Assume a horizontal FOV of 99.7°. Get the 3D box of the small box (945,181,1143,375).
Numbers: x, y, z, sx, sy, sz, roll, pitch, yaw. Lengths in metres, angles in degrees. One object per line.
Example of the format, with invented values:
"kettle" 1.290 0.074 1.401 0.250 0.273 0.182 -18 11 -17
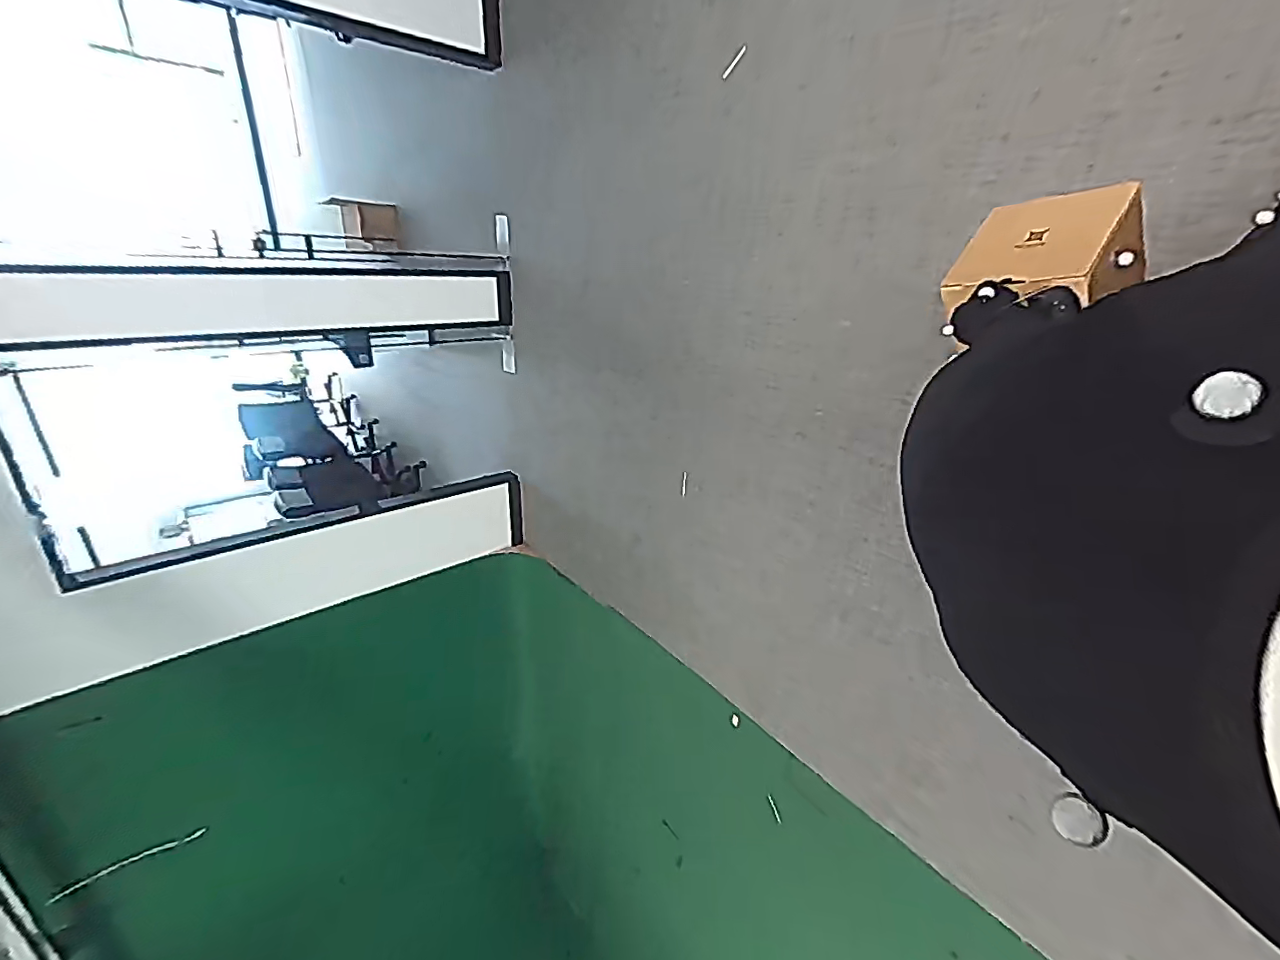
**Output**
"small box" 0.561 -0.270 0.750 0.168 0.179 0.176 19 156 52
